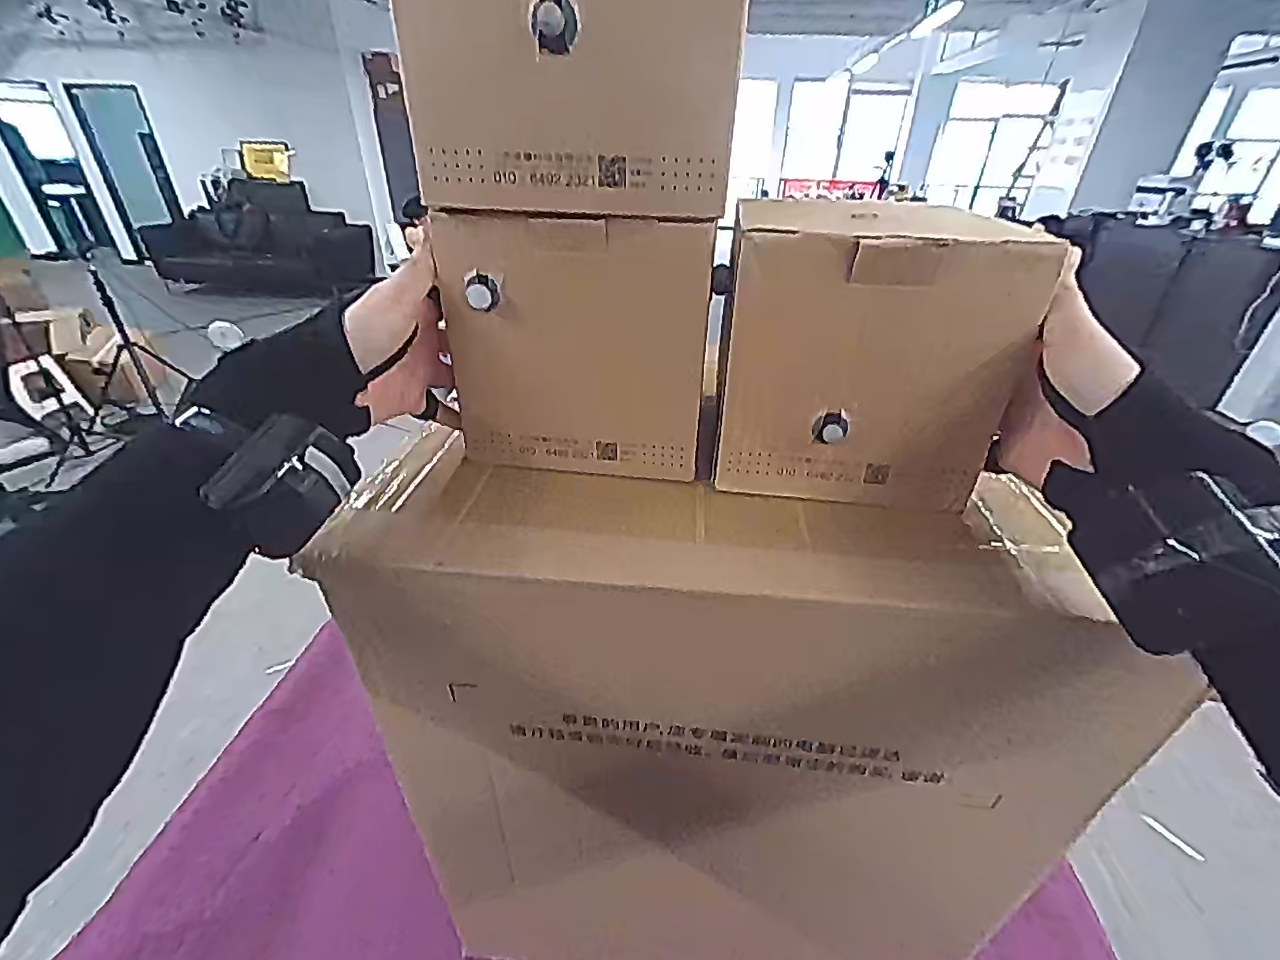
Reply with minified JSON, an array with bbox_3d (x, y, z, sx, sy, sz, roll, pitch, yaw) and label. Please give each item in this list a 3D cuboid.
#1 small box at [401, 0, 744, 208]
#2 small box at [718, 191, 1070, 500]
[{"bbox_3d":[-0.028,-0.262,0.320,0.168,0.176,0.179,3,31,1],"label":"small box"},{"bbox_3d":[0.146,-0.106,0.391,0.168,0.176,0.179,4,33,6],"label":"small box"}]
